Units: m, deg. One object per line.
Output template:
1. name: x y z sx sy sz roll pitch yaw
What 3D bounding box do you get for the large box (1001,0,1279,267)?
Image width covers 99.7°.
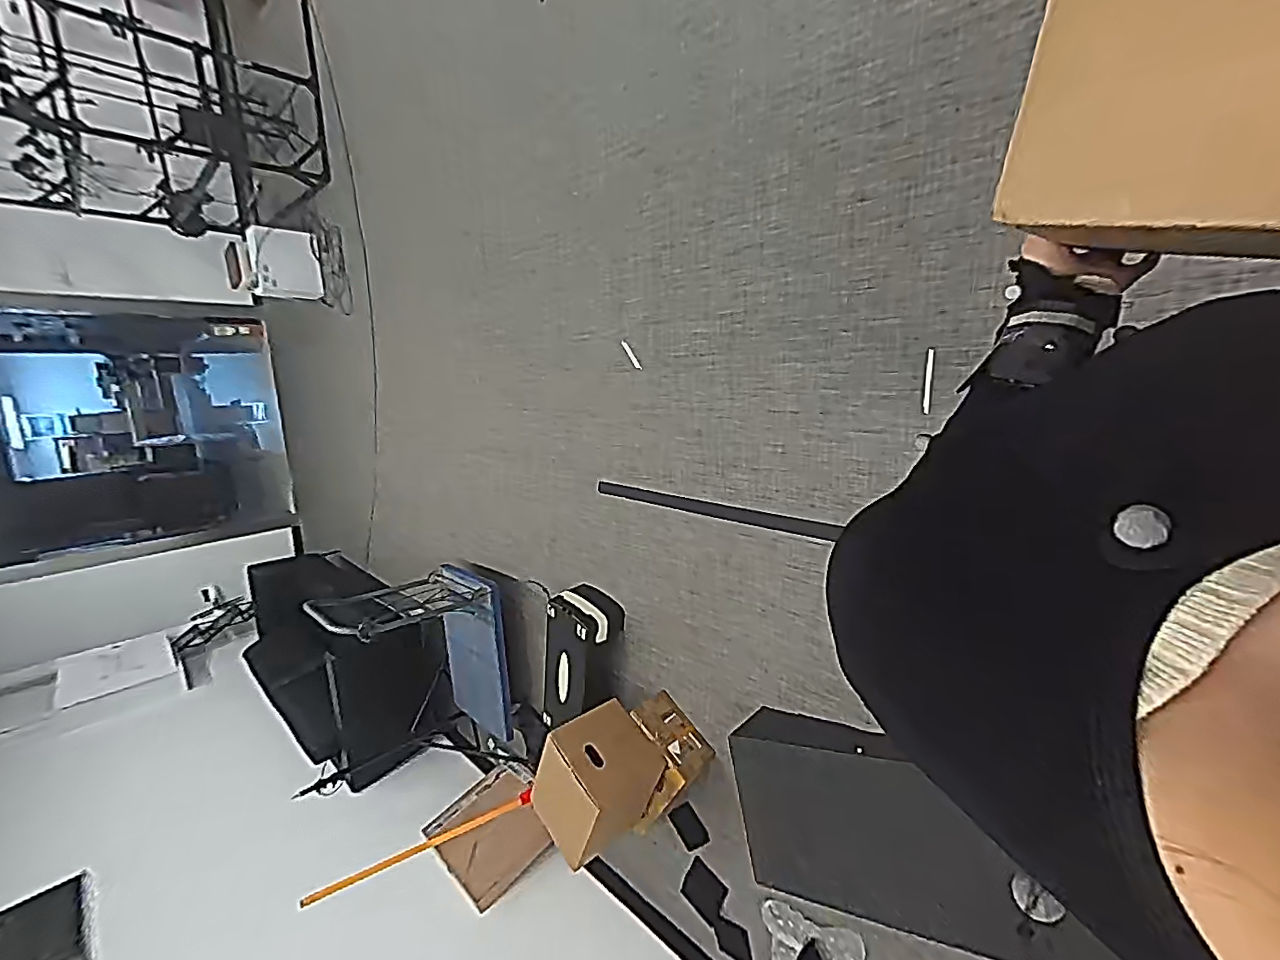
1. large box: 0.473 -0.270 0.257 0.408 0.320 0.320 23 120 40
